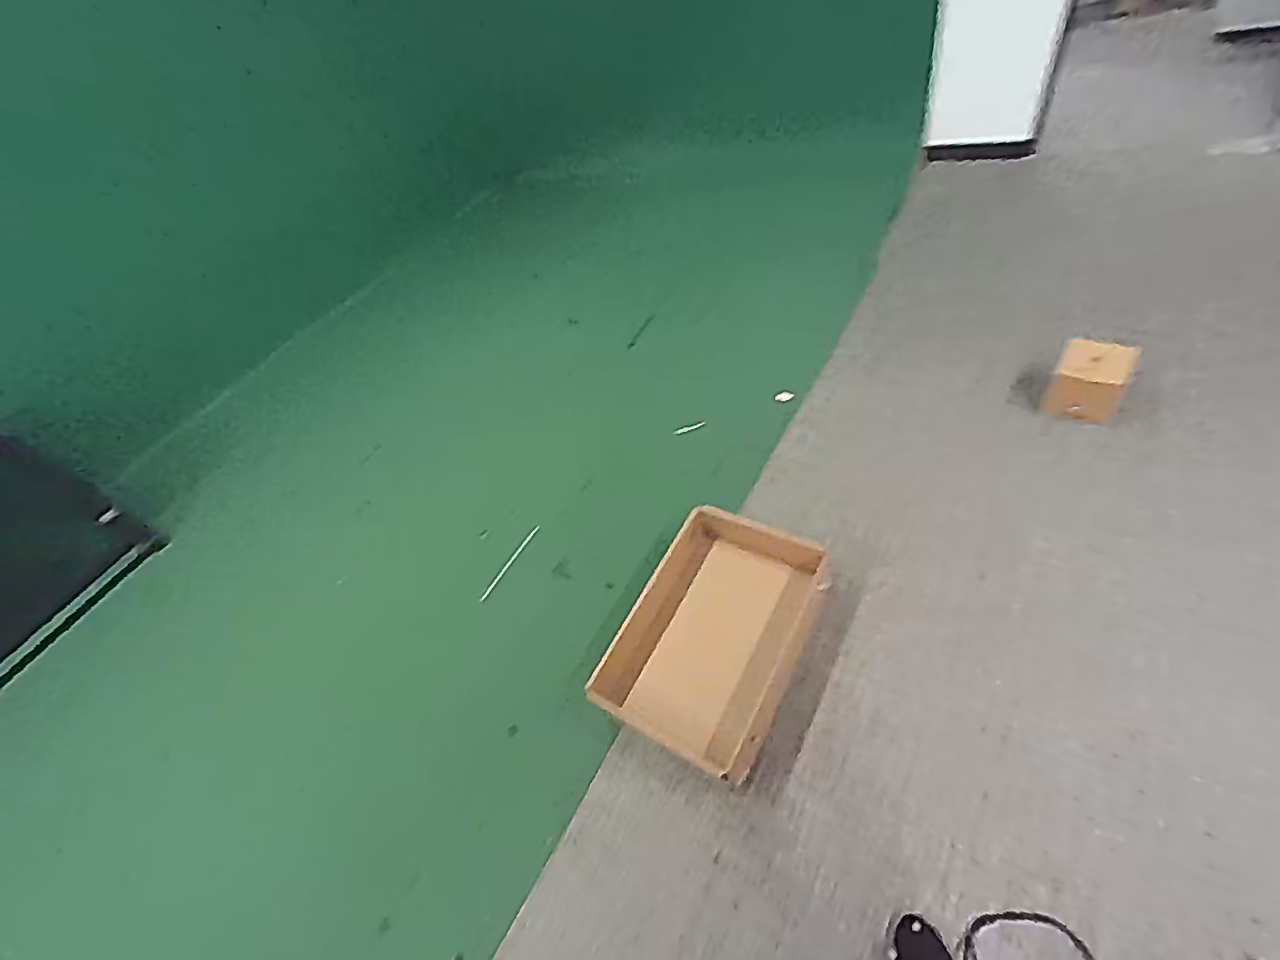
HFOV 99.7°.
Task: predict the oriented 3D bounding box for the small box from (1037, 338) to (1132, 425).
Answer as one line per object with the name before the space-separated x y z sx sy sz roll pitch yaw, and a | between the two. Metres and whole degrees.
small box | 1.351 -0.301 1.652 0.168 0.176 0.179 23 62 33
